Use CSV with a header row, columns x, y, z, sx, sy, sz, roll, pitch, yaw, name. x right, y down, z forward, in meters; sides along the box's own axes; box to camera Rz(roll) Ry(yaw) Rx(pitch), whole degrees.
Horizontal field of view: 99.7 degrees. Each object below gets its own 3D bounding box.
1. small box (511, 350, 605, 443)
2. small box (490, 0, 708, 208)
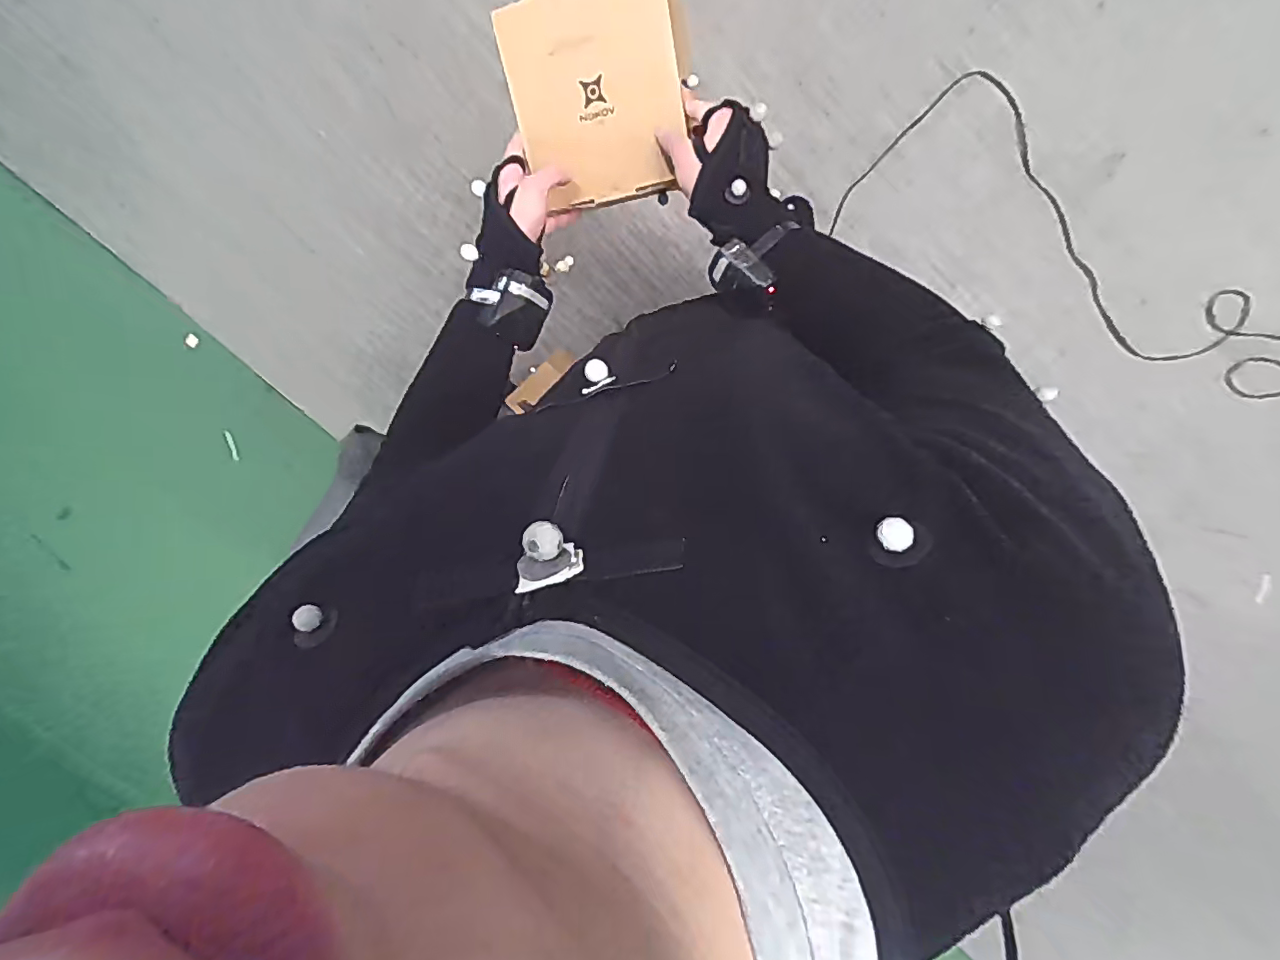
x,y,z,sx,sy,sz,roll,pitch,yaw,name
-0.222,-0.239,1.523,0.179,0.176,0.168,-37,103,25,small box
-0.026,-0.404,0.577,0.168,0.176,0.179,-6,114,17,small box
